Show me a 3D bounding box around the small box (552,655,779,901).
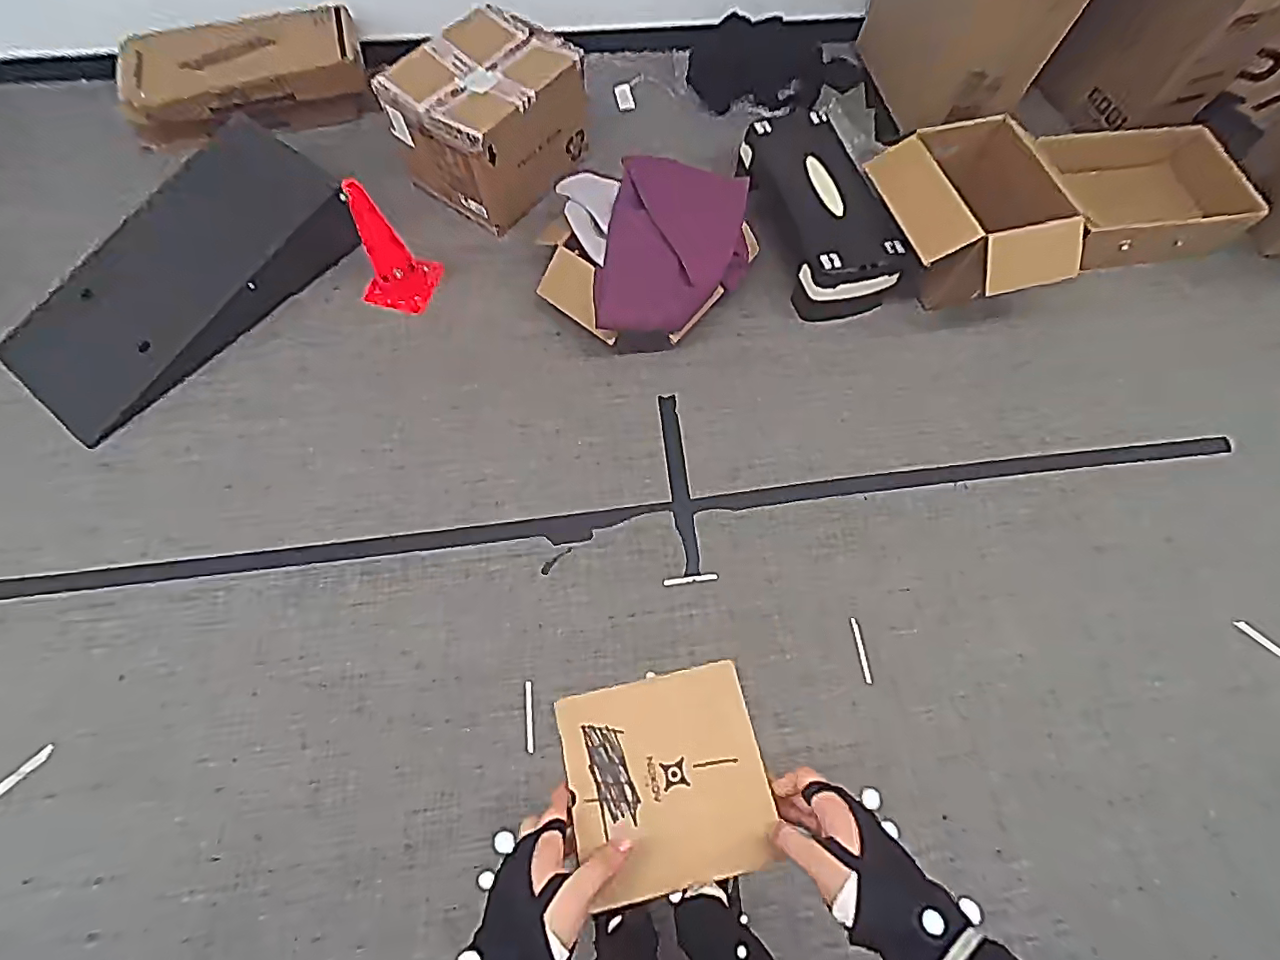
[{"bbox_3d":[0.020,0.294,0.551,0.179,0.176,0.168,-12,63,-5],"label":"small box"}]
